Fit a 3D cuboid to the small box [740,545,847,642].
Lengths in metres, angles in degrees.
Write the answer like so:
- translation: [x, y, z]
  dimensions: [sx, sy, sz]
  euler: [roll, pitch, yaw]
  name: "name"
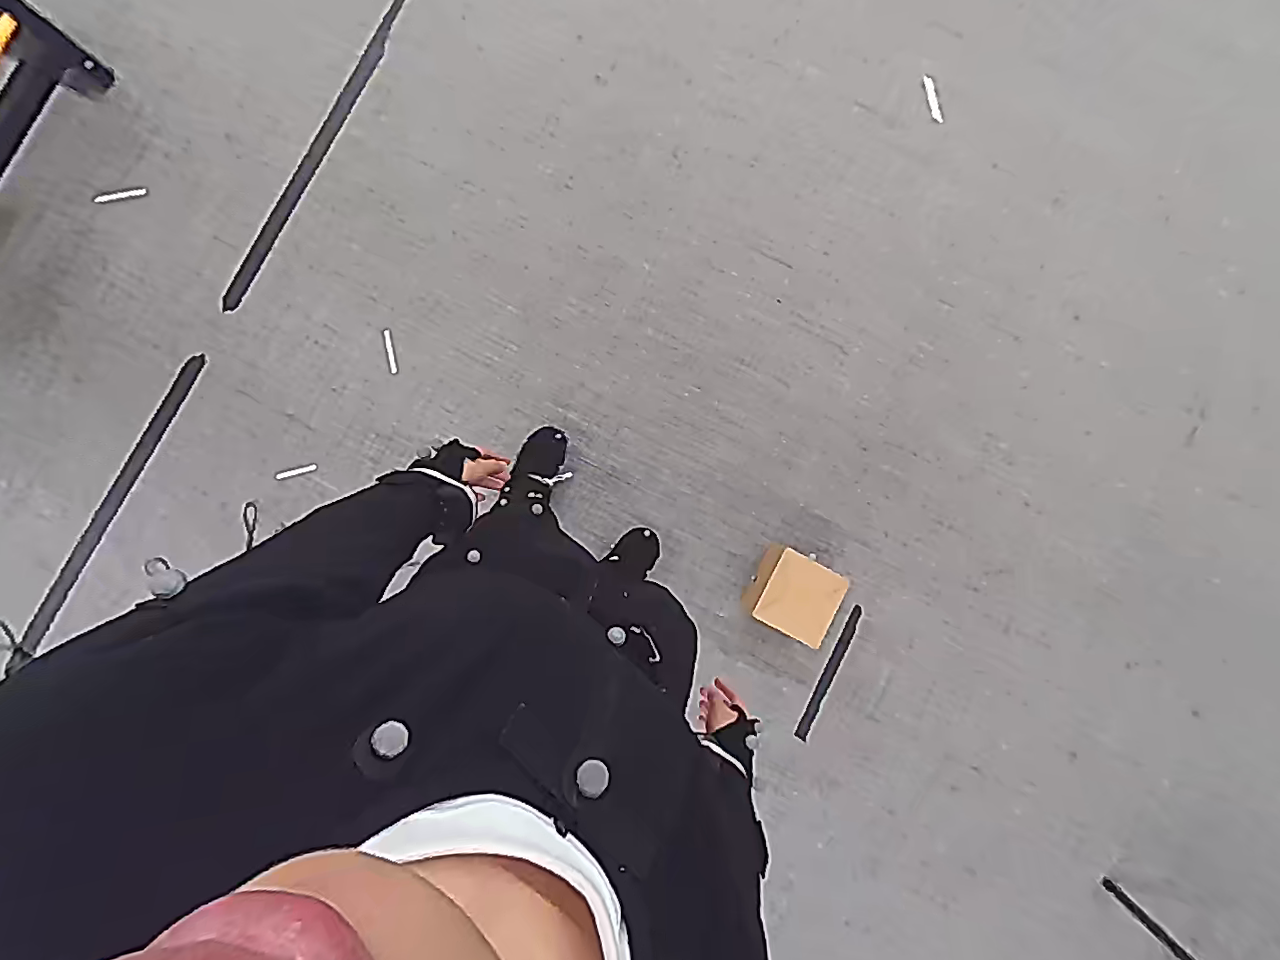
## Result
- translation: [0.360, 0.269, 1.289]
  dimensions: [0.168, 0.176, 0.179]
  euler: [28, 88, 3]
  name: "small box"
